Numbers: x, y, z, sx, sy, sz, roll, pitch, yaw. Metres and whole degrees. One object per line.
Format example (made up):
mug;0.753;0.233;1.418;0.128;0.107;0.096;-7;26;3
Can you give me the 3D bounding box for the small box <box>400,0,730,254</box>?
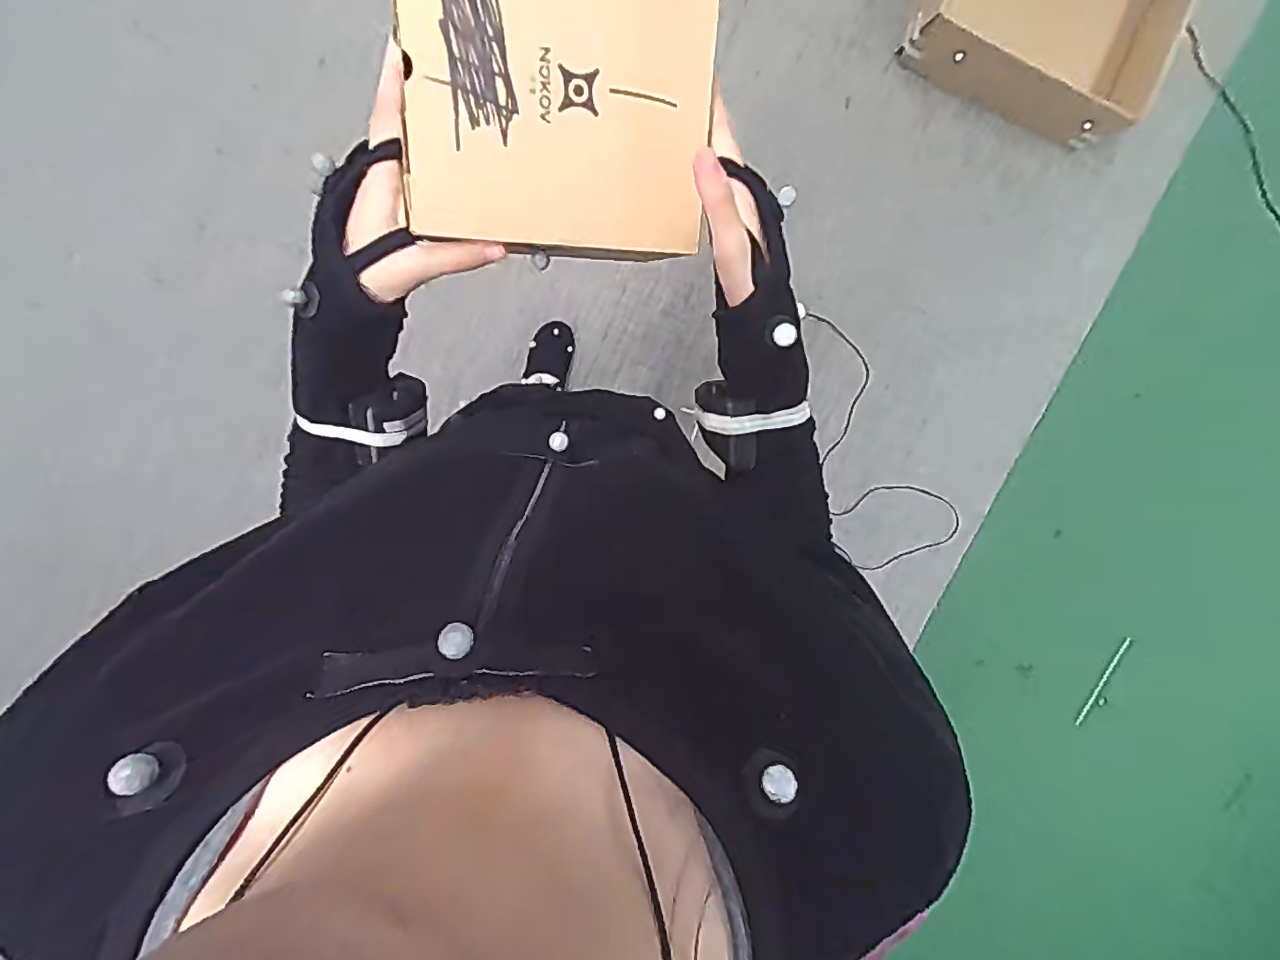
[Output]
small box;-0.055;-0.251;0.368;0.179;0.176;0.168;-1;111;-14
